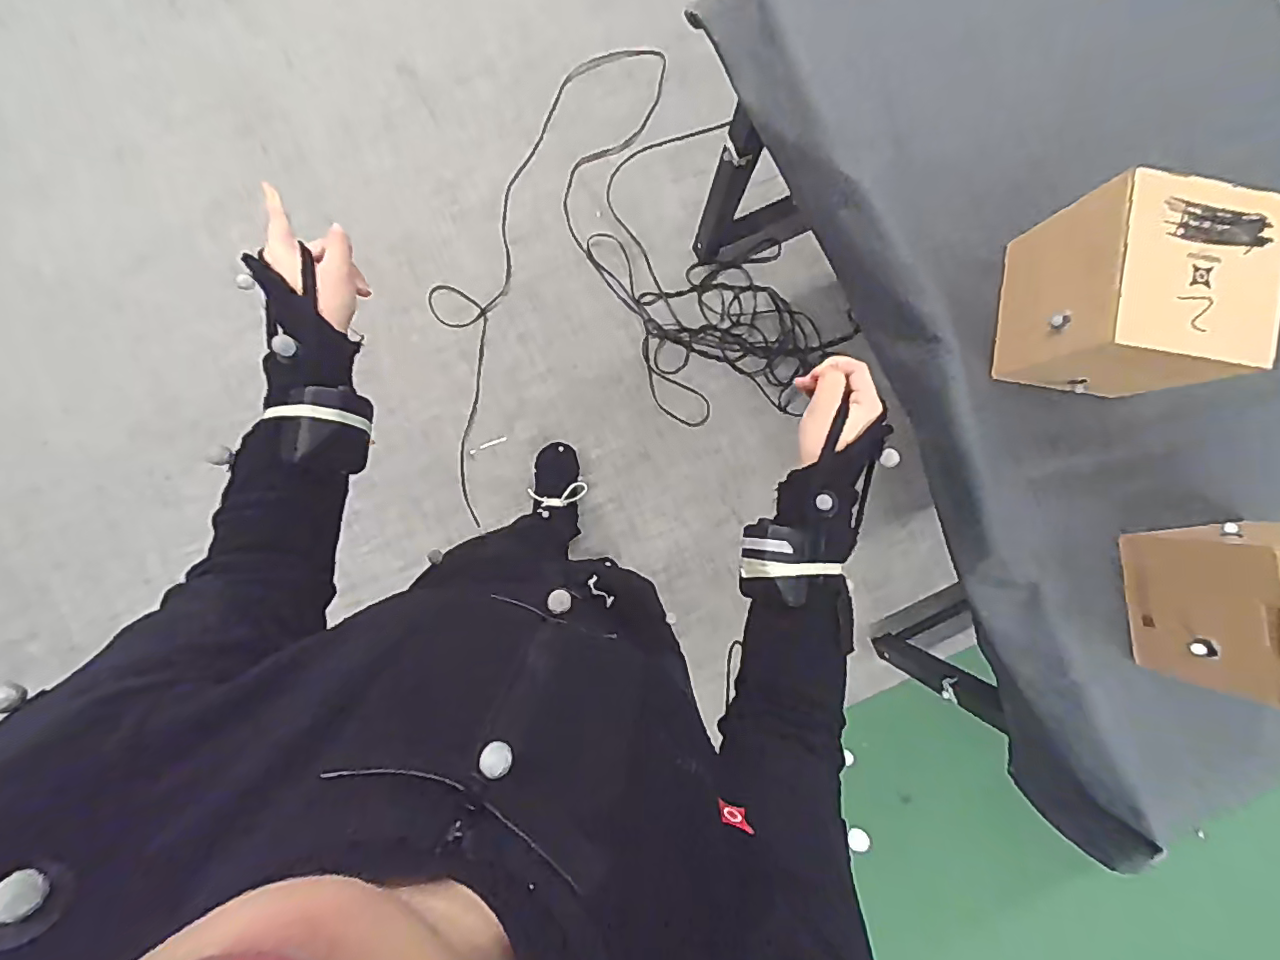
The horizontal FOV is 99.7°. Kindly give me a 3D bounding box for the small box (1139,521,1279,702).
[{"bbox_3d":[0.700,0.138,0.592,0.179,0.176,0.168,-6,89,-4],"label":"small box"}]
